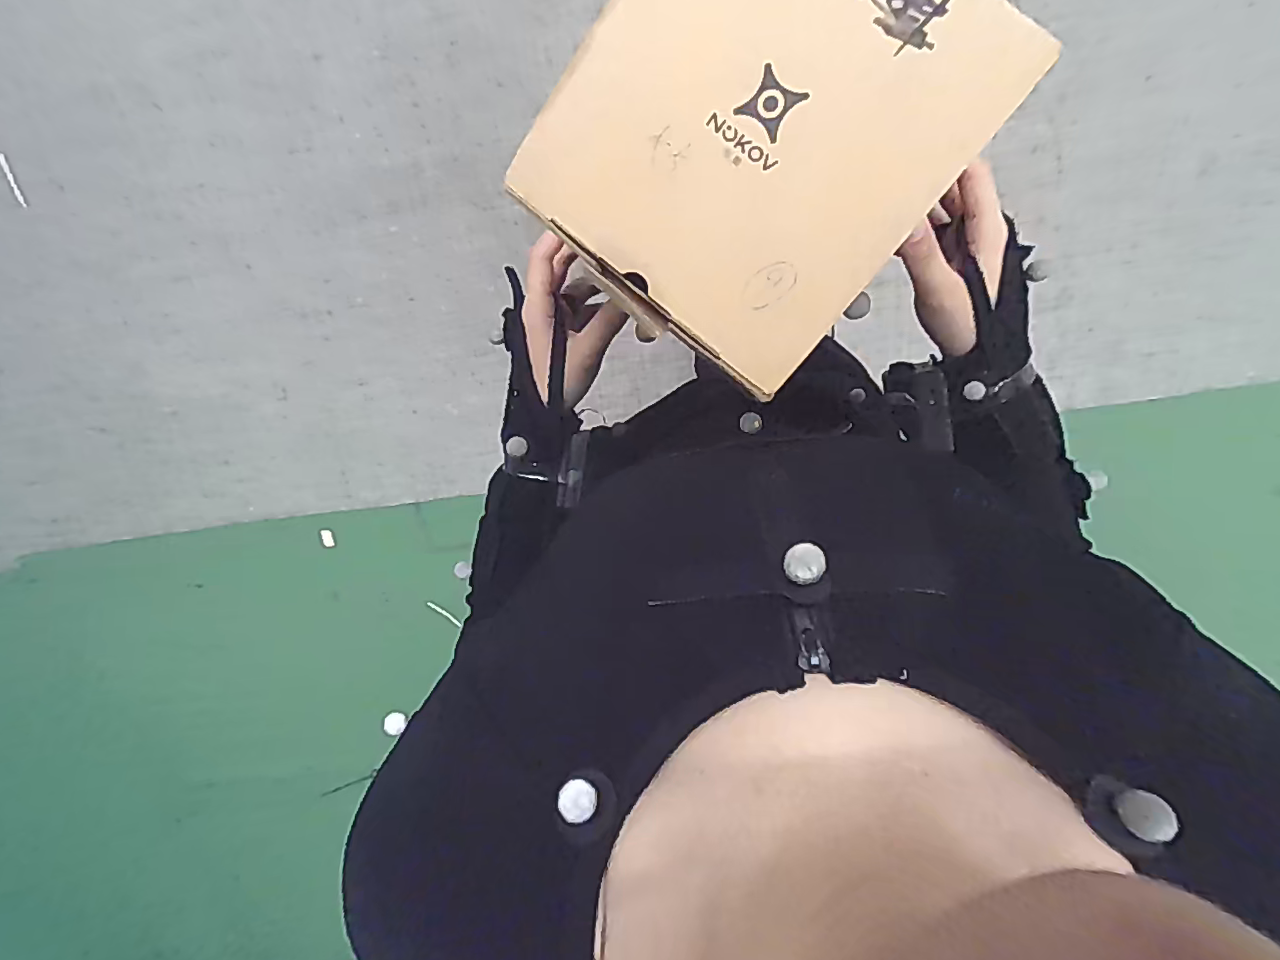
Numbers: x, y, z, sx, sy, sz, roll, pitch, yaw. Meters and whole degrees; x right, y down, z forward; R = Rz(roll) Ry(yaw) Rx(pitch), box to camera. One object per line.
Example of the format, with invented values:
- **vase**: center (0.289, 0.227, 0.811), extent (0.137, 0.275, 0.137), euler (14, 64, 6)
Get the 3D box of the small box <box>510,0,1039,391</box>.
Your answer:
- **small box**: center (0.064, -0.169, 0.317), extent (0.168, 0.176, 0.179), euler (39, 104, 2)
